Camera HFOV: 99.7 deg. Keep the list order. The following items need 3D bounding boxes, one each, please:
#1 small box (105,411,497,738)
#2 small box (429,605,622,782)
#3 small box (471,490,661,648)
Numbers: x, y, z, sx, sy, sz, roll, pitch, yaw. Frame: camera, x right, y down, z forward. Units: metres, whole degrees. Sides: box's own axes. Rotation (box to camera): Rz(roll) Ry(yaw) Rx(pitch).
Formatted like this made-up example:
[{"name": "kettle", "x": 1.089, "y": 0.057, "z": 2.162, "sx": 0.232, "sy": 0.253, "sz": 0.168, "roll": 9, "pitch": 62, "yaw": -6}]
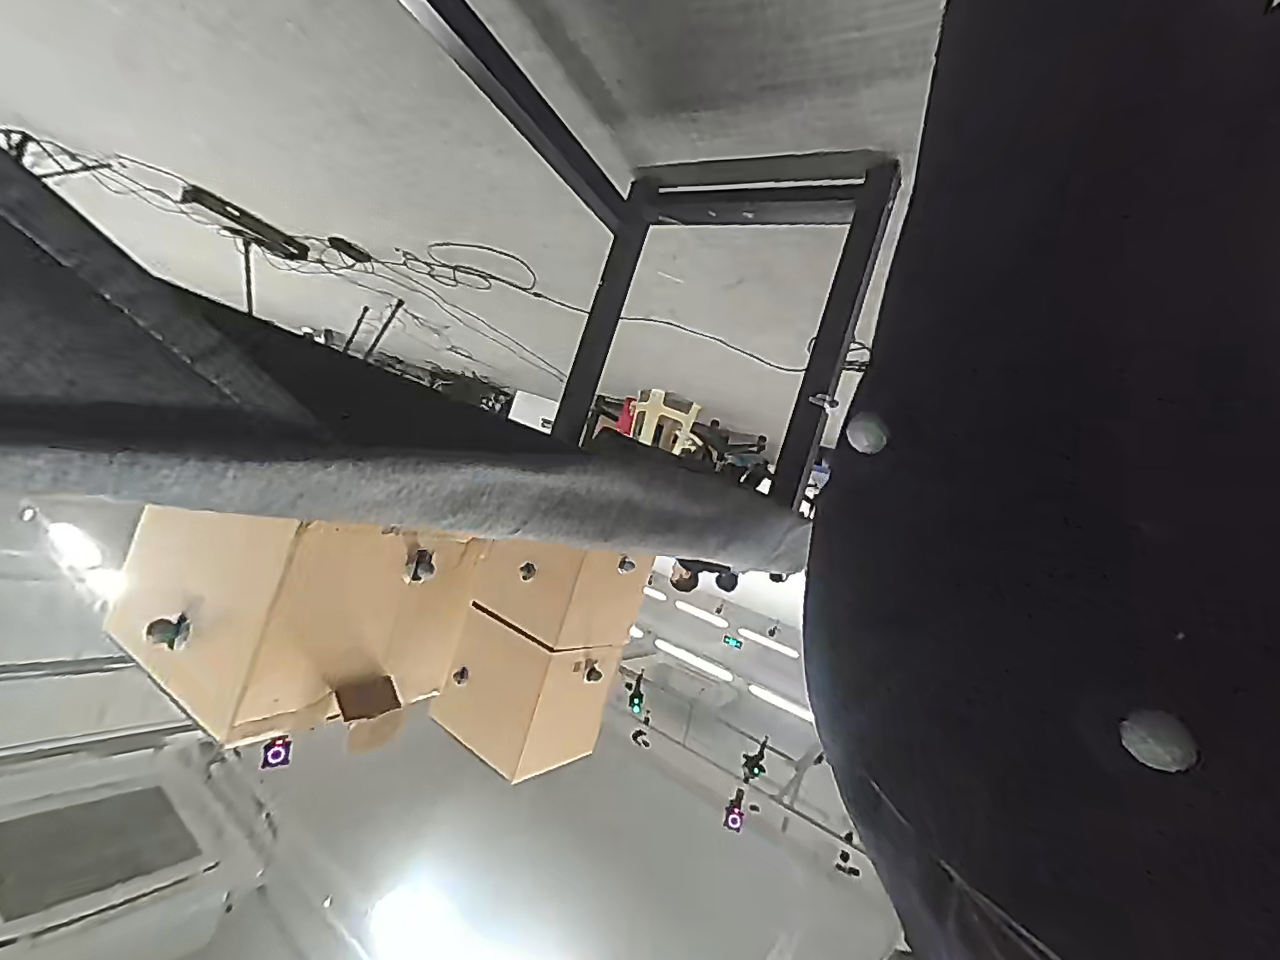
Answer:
[{"name": "small box", "x": -0.241, "y": 0.057, "z": 0.411, "sx": 0.179, "sy": 0.176, "sz": 0.168, "roll": 17, "pitch": 178, "yaw": 28}, {"name": "small box", "x": -0.152, "y": 0.271, "z": 0.748, "sx": 0.179, "sy": 0.176, "sz": 0.168, "roll": 16, "pitch": 178, "yaw": 34}, {"name": "small box", "x": -0.098, "y": 0.118, "z": 0.758, "sx": 0.179, "sy": 0.176, "sz": 0.168, "roll": 16, "pitch": 177, "yaw": 35}]
